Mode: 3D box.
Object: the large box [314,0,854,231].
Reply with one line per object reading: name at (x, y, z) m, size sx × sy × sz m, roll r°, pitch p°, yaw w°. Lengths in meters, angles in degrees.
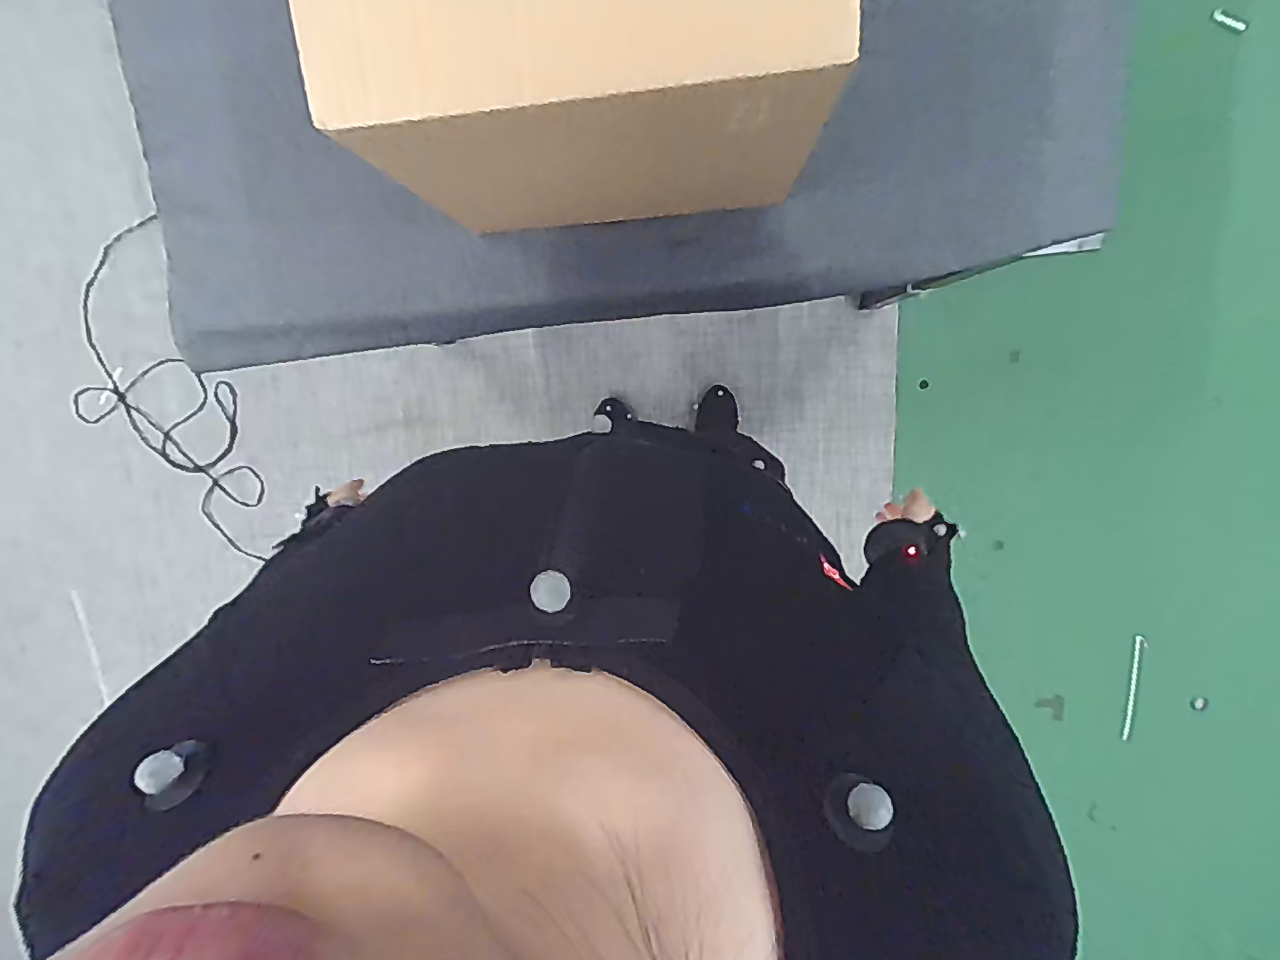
large box at (-0.046, -0.465, 0.527) m, size 0.408 × 0.320 × 0.320 m, roll -4°, pitch 101°, yaw 5°
